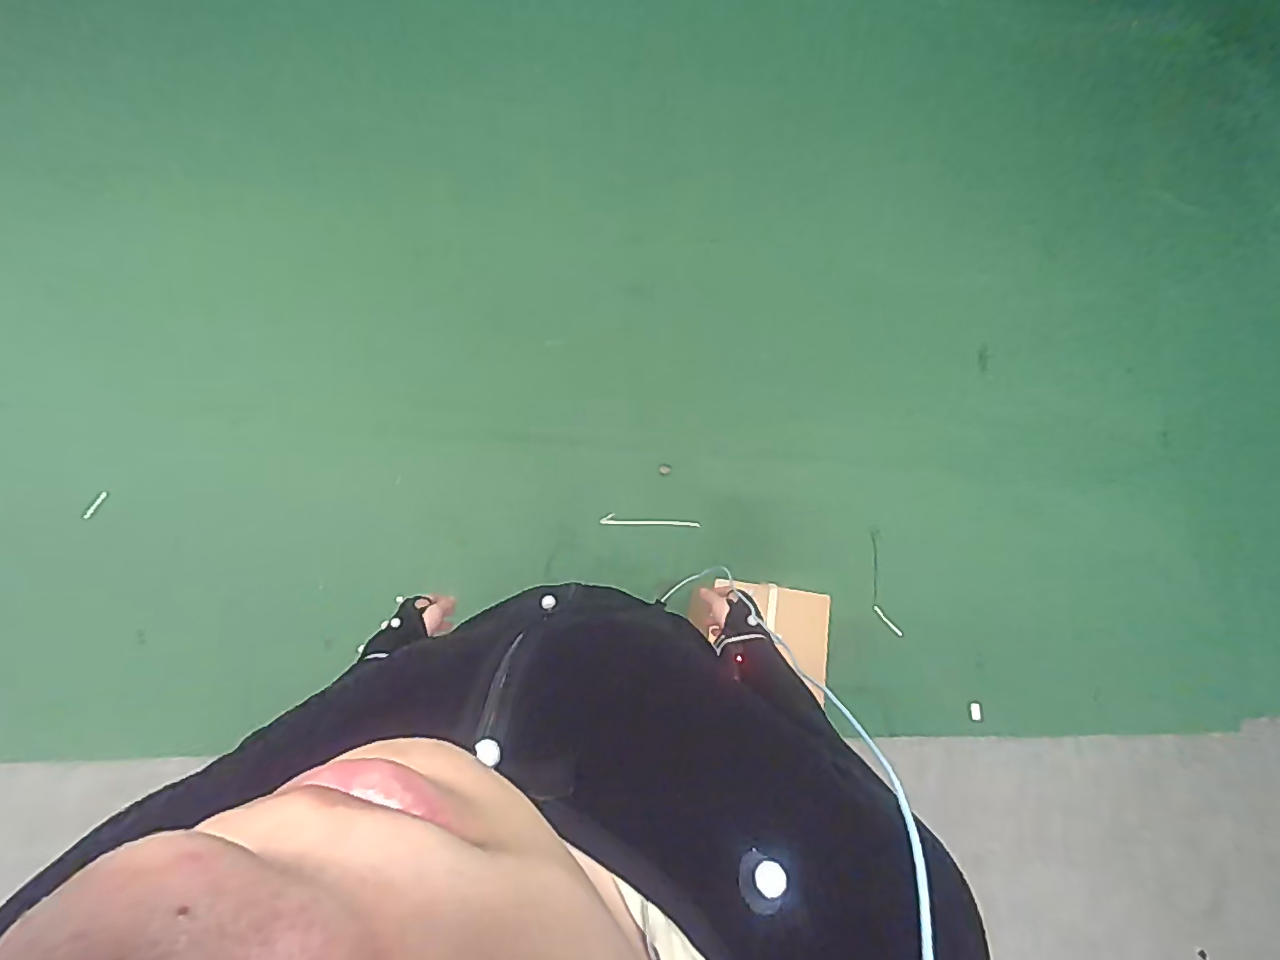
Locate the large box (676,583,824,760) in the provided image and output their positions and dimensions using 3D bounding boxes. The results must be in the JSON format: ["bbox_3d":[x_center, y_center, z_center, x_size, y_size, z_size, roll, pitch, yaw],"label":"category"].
[{"bbox_3d":[0.294,0.508,1.508,0.320,0.320,0.408,9,77,-4],"label":"large box"}]
